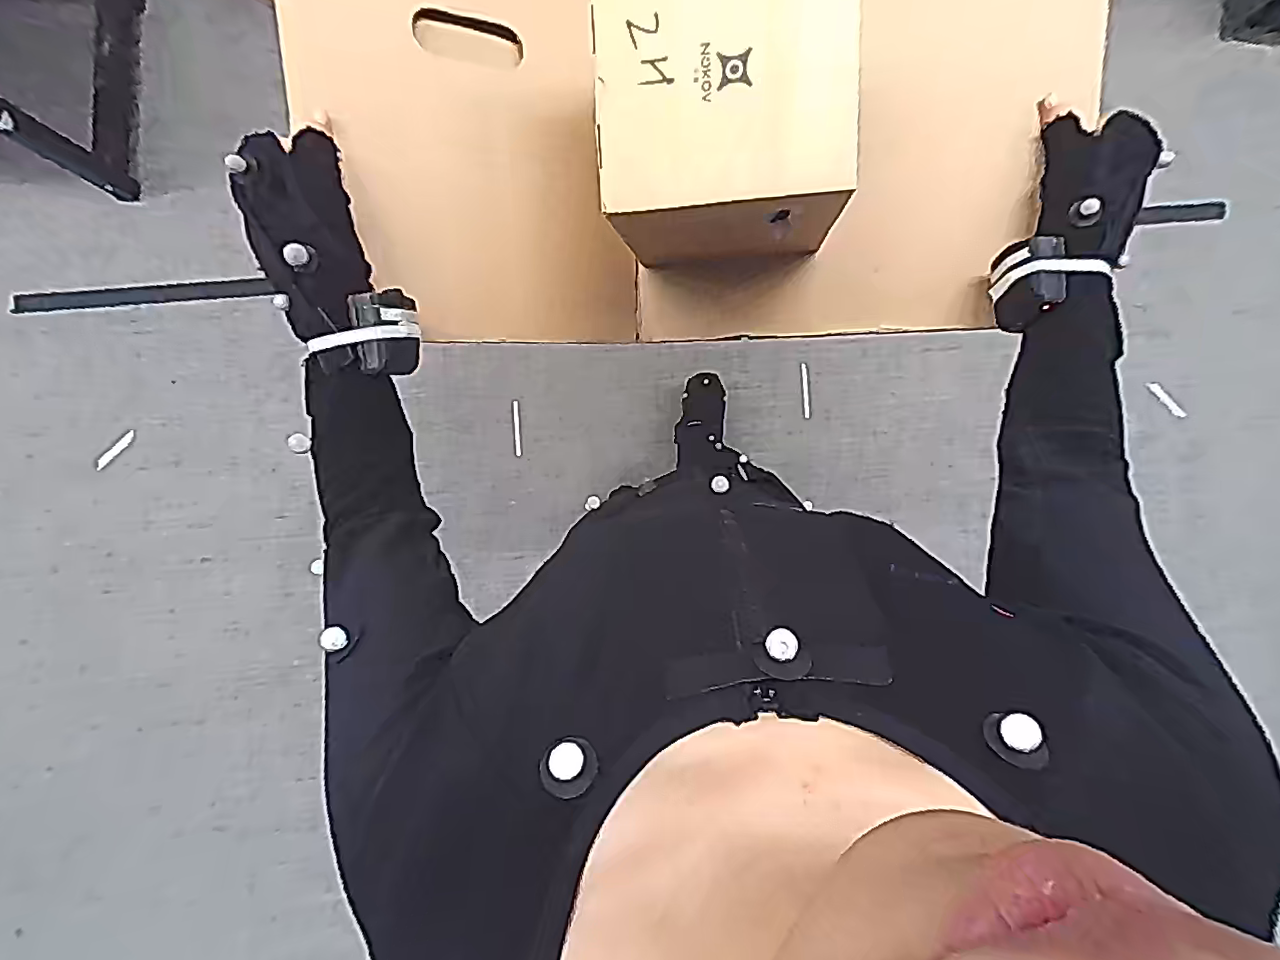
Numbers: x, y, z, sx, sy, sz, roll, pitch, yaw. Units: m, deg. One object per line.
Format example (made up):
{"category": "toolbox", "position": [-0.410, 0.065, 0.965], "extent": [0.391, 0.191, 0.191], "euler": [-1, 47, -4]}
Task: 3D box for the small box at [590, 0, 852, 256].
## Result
{"category": "small box", "position": [0.066, -0.293, 0.445], "extent": [0.179, 0.176, 0.168], "euler": [0, 100, 11]}
